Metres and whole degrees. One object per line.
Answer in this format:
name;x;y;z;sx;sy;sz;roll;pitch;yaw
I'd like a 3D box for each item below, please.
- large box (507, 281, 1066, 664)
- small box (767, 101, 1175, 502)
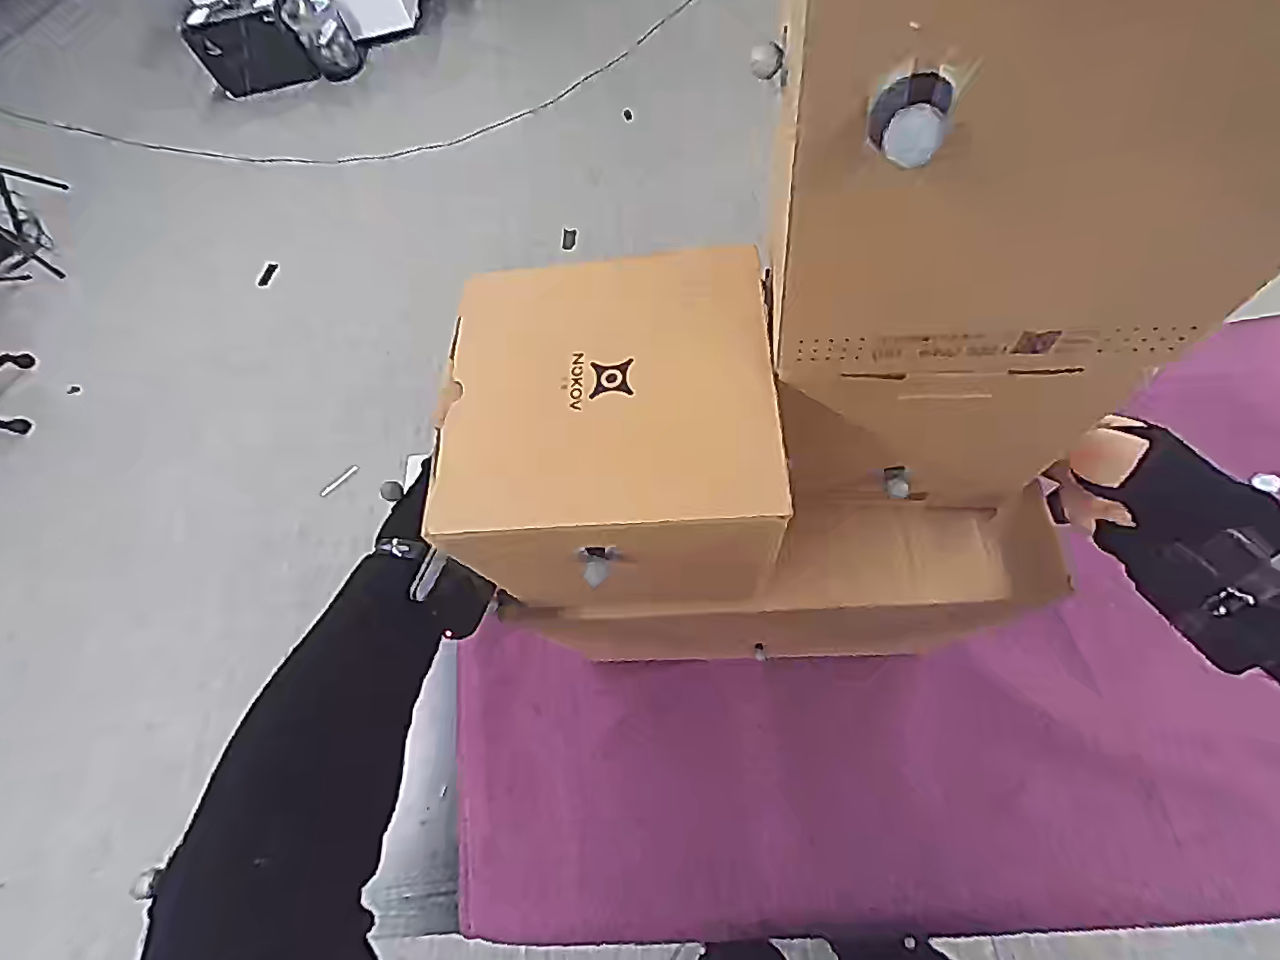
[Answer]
large box;0.114;0.015;0.583;0.408;0.320;0.320;-5;64;8
small box;0.170;-0.100;0.351;0.168;0.176;0.179;0;66;12
